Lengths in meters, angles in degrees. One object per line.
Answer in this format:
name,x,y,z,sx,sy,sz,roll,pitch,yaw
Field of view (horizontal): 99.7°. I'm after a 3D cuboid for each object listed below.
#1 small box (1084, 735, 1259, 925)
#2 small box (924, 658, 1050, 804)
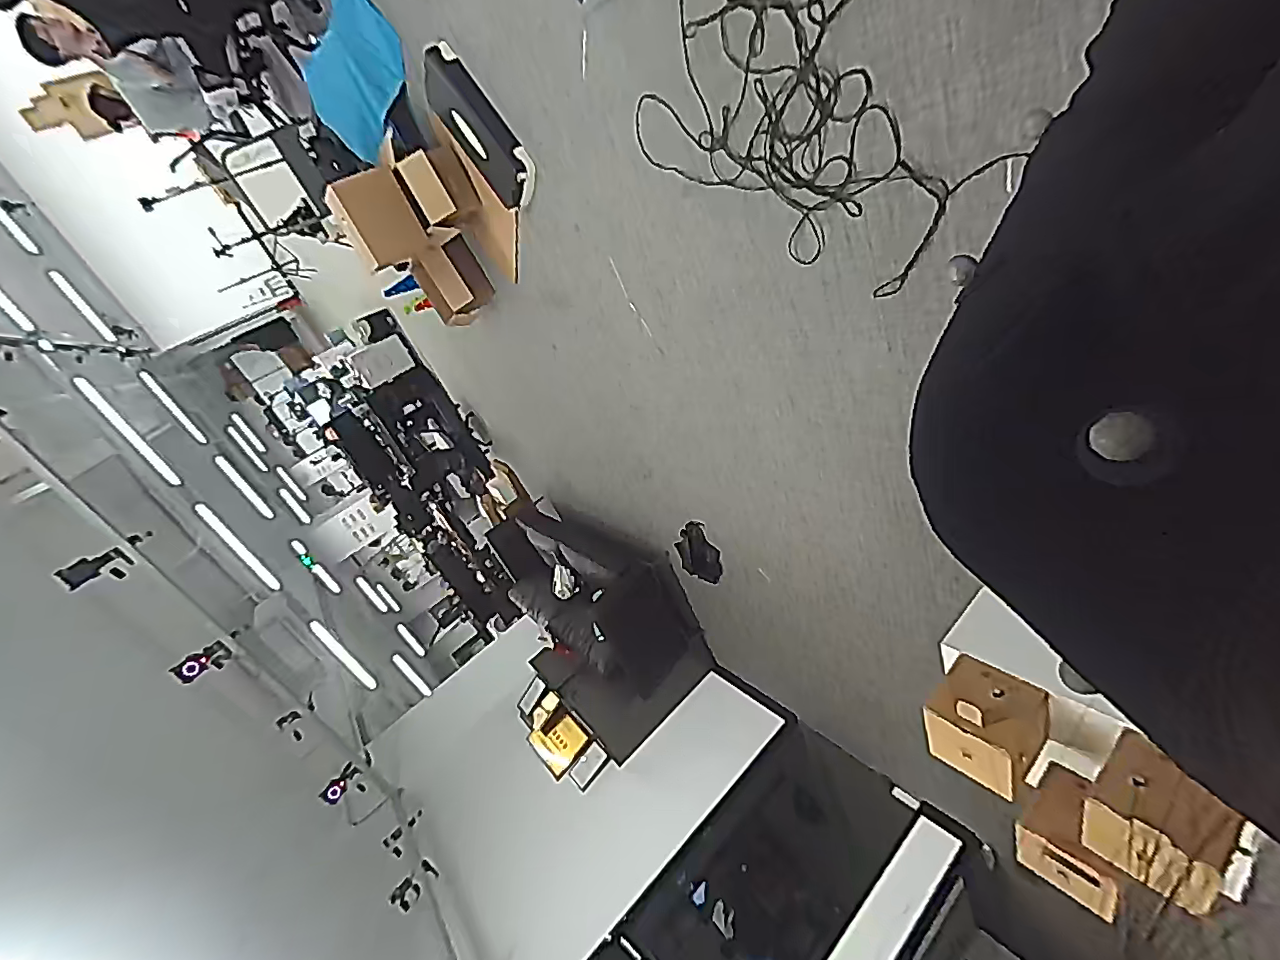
small box,0.880,0.571,0.902,0.168,0.176,0.179,23,145,53
small box,0.720,0.511,1.119,0.168,0.176,0.179,20,141,52
